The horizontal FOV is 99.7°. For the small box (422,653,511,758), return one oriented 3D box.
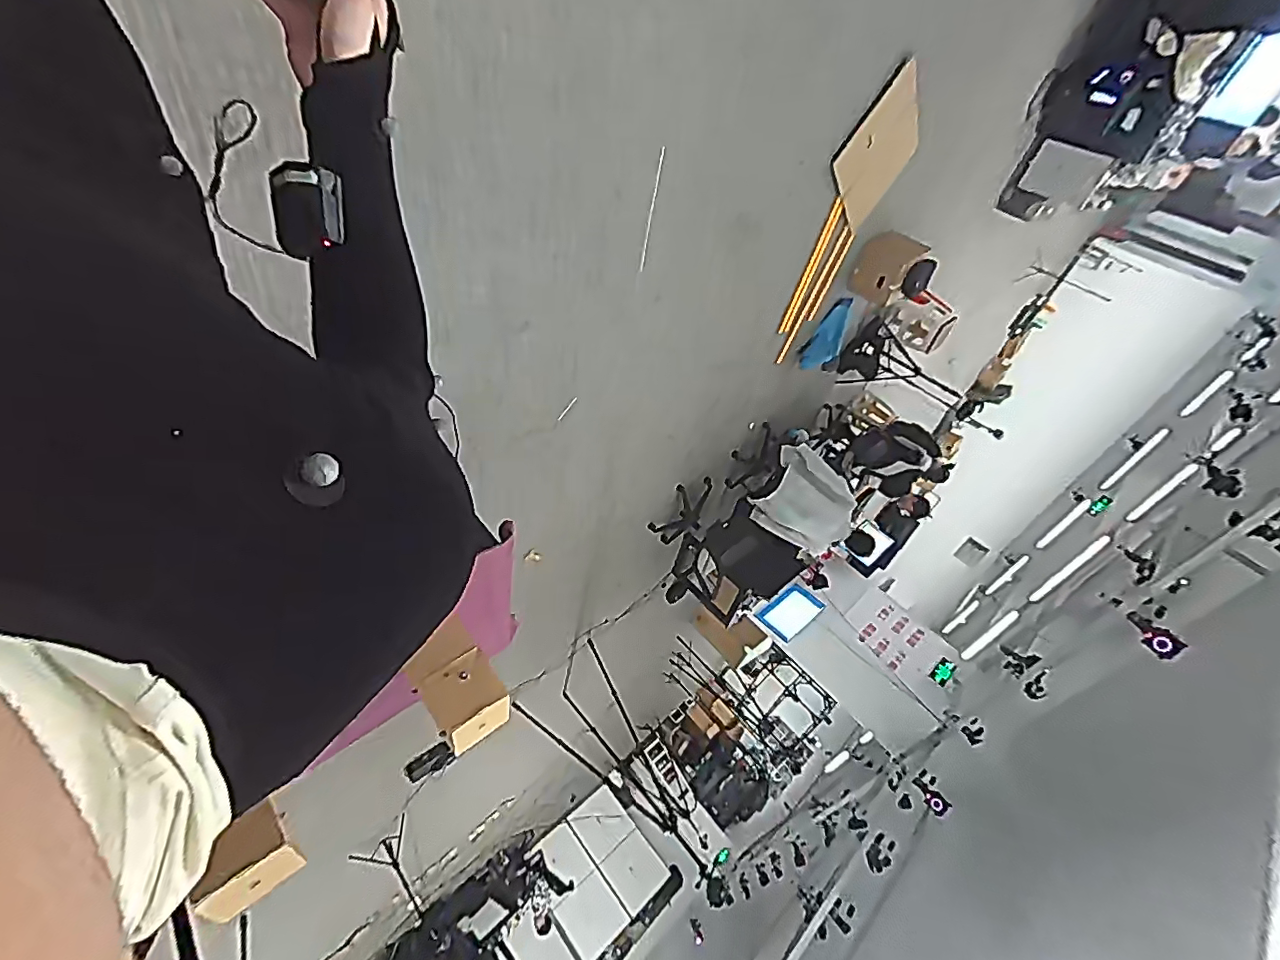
[{"bbox_3d":[-0.464,0.601,1.454,0.168,0.176,0.179,-27,146,-33],"label":"small box"}]

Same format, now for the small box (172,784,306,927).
[{"bbox_3d":[-0.846,0.787,1.146,0.168,0.176,0.179,-26,146,-35],"label":"small box"}]

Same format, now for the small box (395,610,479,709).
[{"bbox_3d":[-0.570,0.502,1.529,0.168,0.176,0.179,-27,146,-35],"label":"small box"}]
